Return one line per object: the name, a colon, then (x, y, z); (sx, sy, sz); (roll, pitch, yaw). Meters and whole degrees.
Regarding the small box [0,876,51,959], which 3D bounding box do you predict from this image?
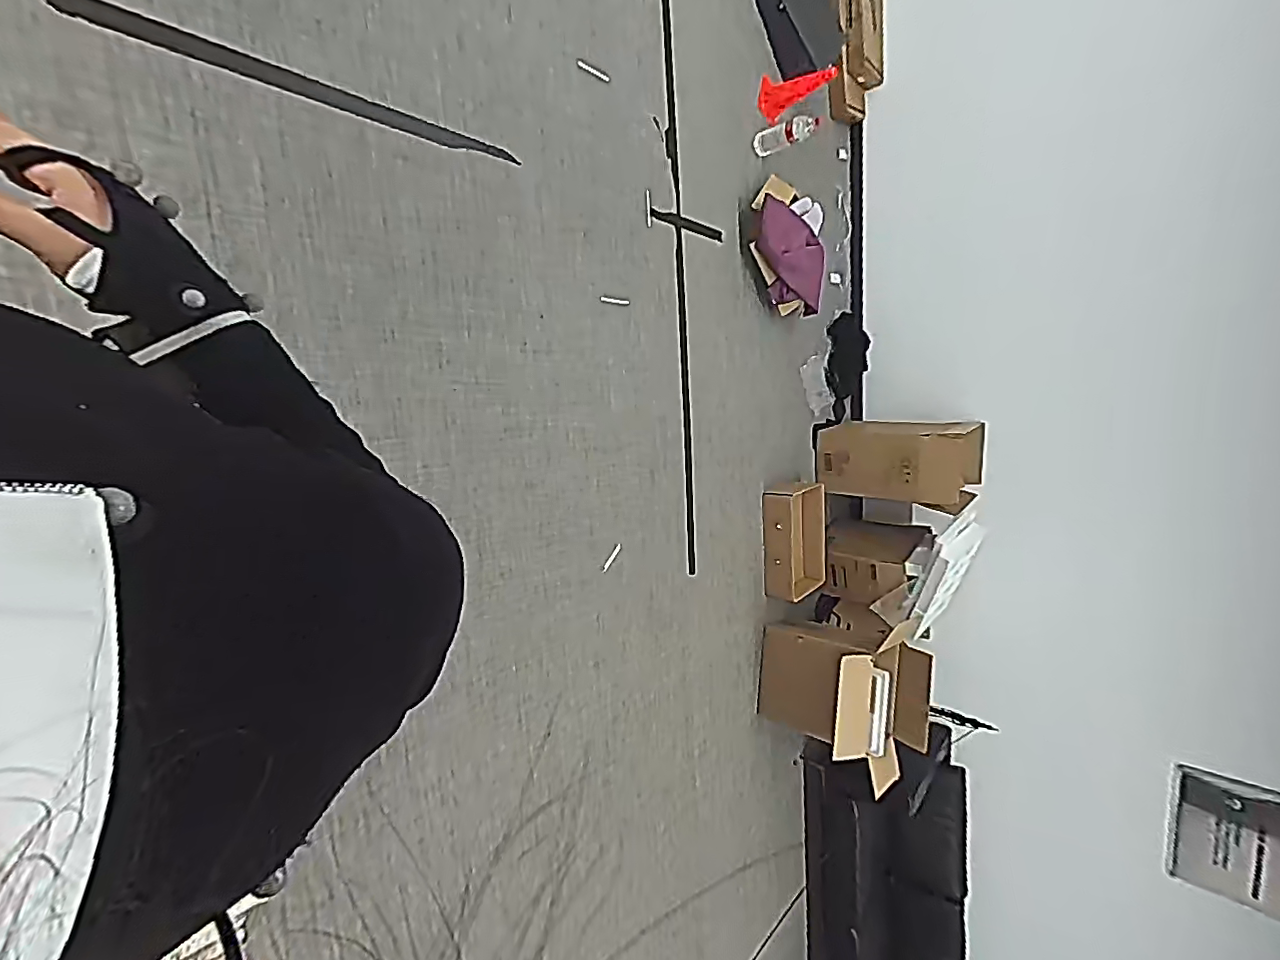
small box: (-0.826, 0.623, 0.624); (0.179, 0.176, 0.168); (-13, 102, -45)
